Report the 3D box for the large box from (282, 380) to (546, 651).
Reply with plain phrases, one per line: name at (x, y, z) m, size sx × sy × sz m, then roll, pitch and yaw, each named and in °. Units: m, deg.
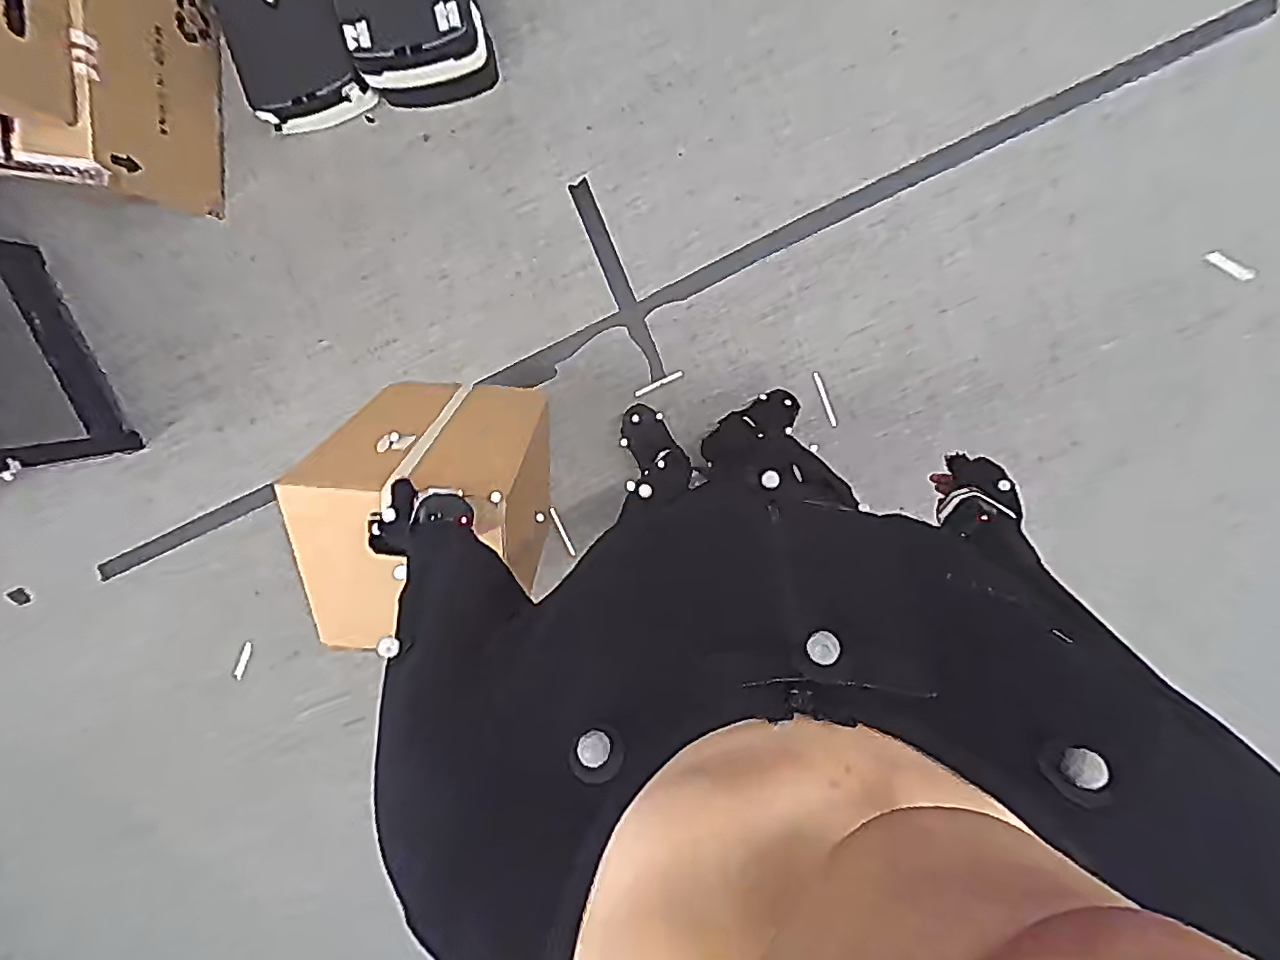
large box at (-0.357, 0.045, 0.992) m, size 0.320 × 0.408 × 0.320 m, roll 4°, pitch 121°, yaw -1°
